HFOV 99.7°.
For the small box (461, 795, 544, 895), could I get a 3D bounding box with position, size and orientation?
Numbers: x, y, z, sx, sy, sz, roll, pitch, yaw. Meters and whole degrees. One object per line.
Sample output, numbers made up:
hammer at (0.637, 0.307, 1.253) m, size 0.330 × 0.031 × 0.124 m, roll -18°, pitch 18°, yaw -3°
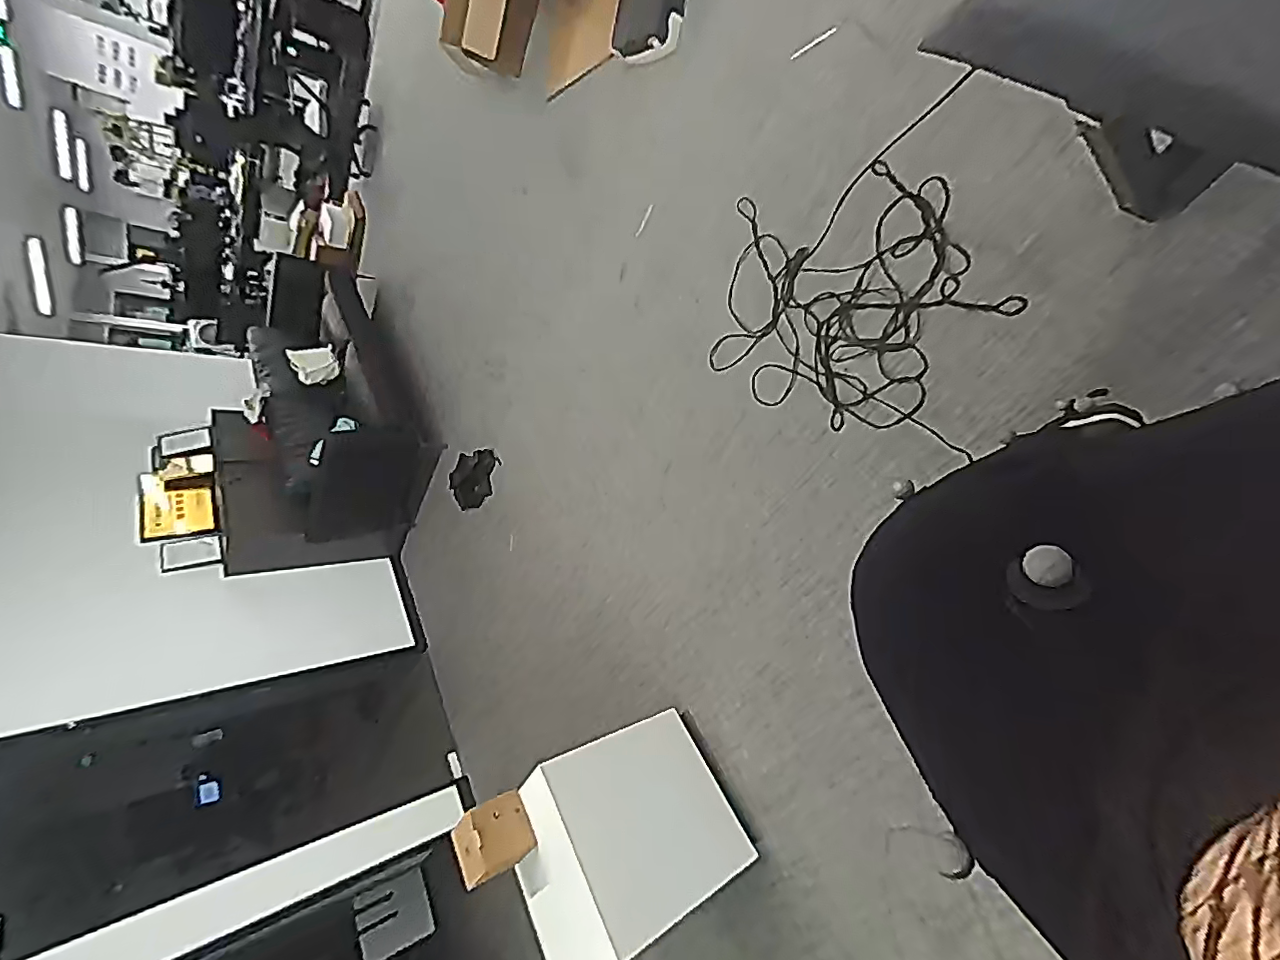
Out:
small box at (-0.406, 1.080, 1.611) m, size 0.168 × 0.176 × 0.179 m, roll 54°, pitch 129°, yaw 33°
